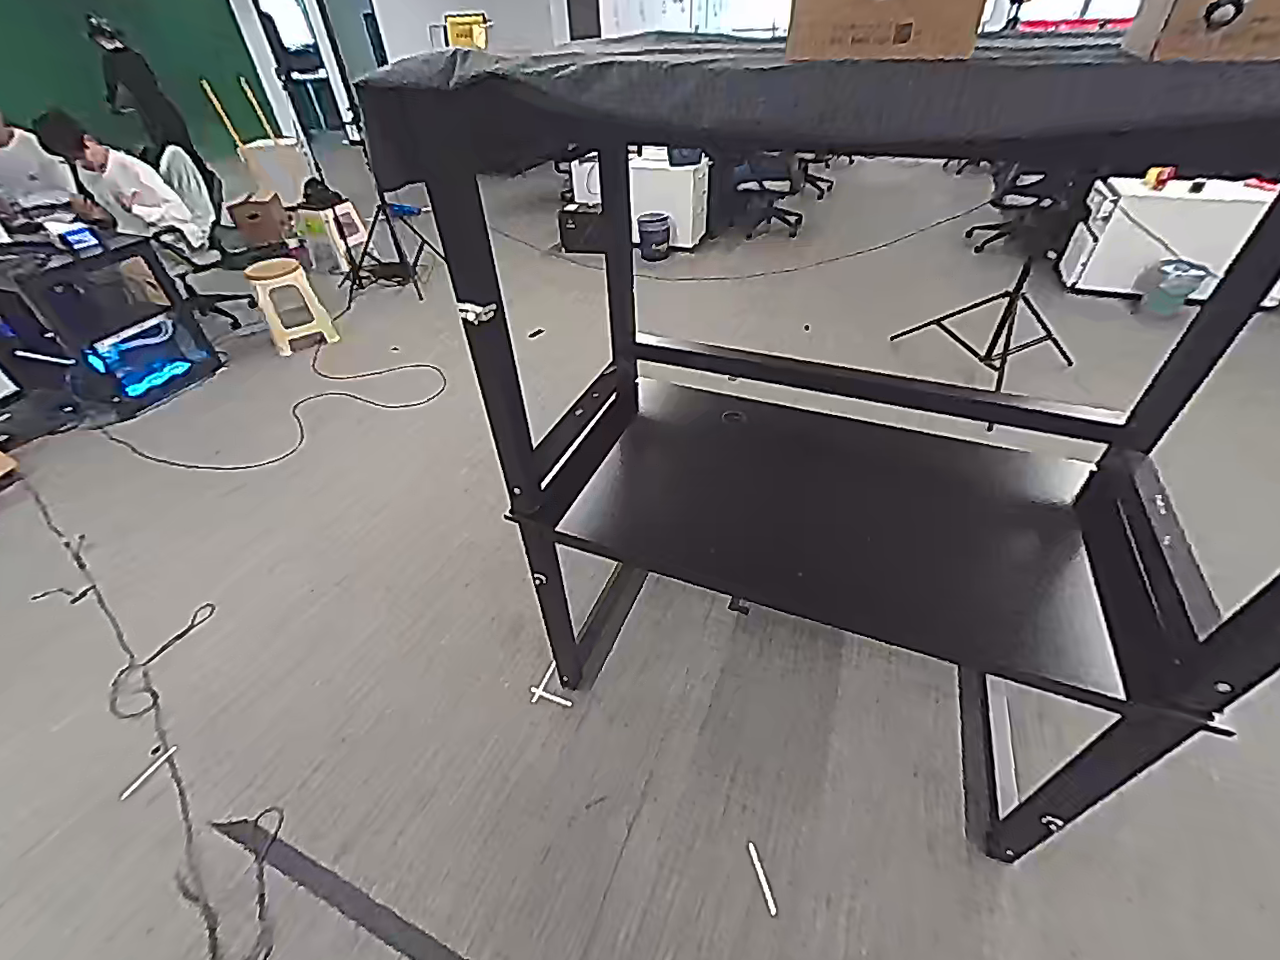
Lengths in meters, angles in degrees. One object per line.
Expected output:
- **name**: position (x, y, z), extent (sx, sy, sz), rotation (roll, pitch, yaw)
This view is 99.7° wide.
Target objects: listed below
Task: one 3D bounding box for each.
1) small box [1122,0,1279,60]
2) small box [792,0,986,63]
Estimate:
- **small box**: position (0.527, -0.439, 0.423), extent (0.168, 0.176, 0.179), rotation (17, 43, 21)
- **small box**: position (0.250, -0.508, 0.514), extent (0.168, 0.176, 0.179), rotation (14, 41, 19)
